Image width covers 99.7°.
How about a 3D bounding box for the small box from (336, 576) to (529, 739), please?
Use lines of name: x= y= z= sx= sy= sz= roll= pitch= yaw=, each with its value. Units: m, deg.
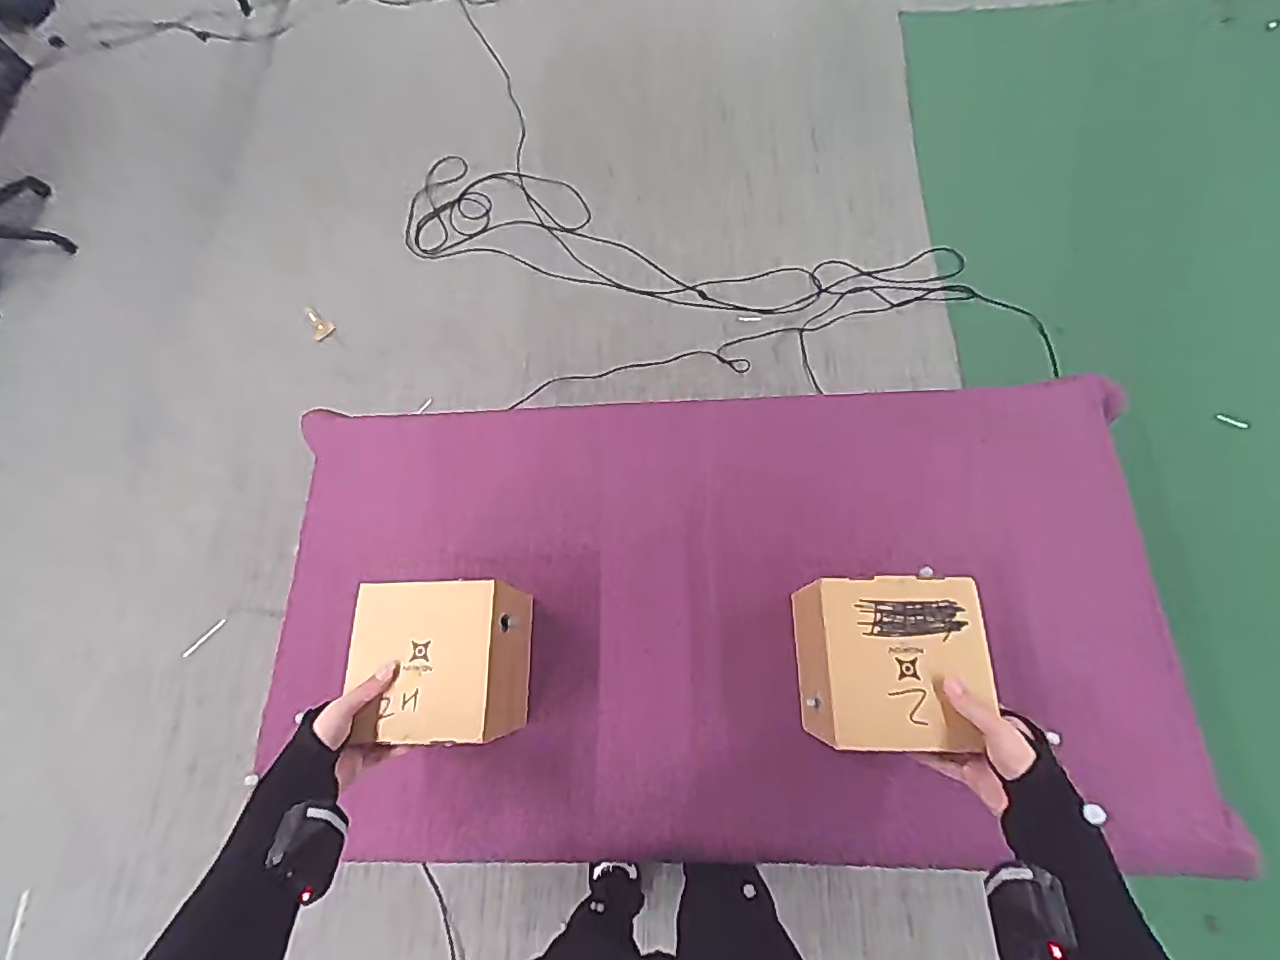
small box: x=-0.245 y=0.224 z=0.687 sx=0.168 sy=0.176 sz=0.179 roll=-2 pitch=71 yaw=5
